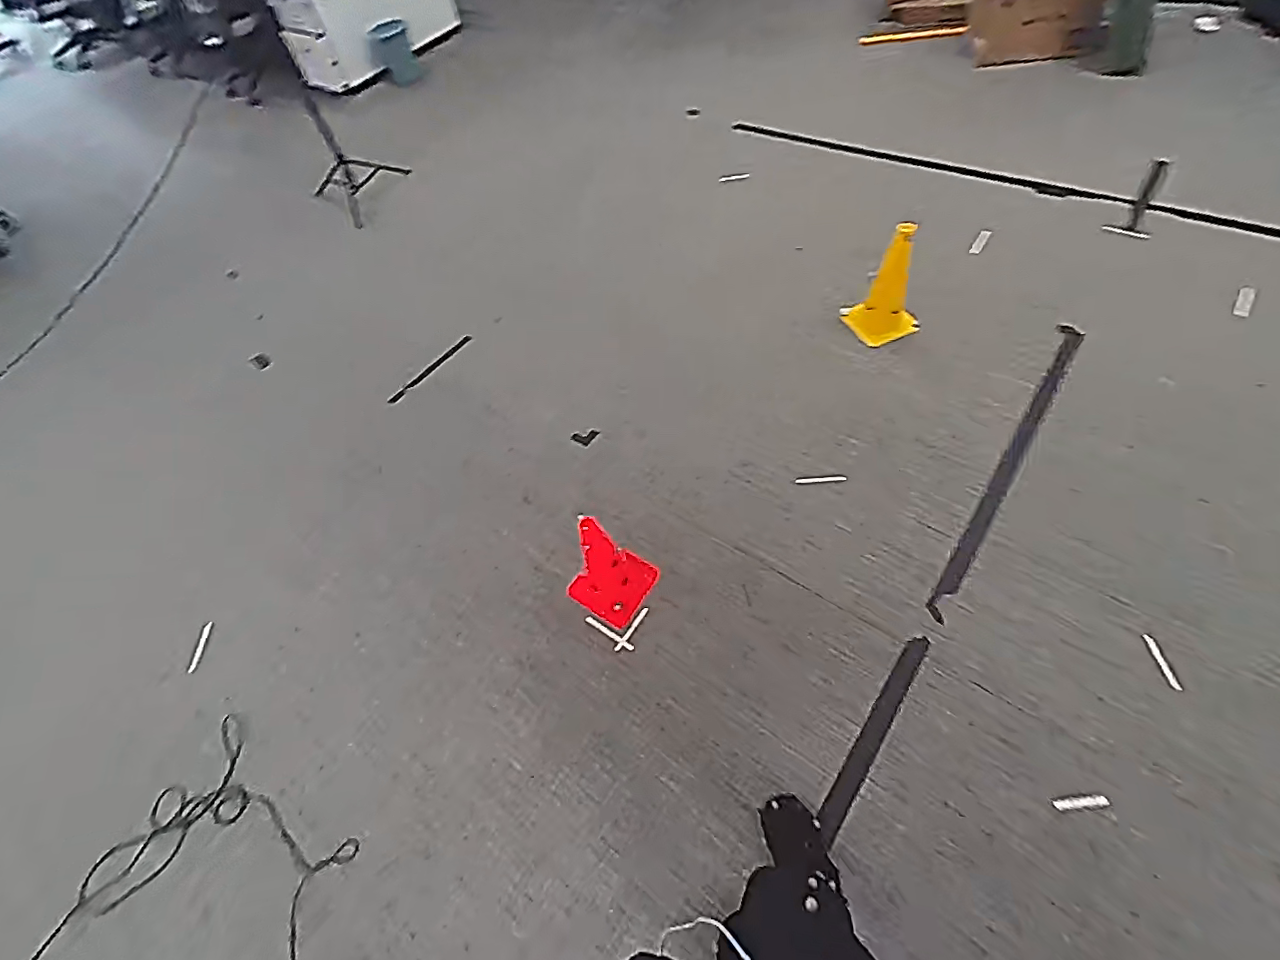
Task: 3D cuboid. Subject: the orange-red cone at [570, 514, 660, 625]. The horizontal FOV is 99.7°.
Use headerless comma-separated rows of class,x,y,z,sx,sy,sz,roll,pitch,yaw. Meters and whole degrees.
orange-red cone,-0.088,0.185,1.352,0.198,0.360,0.199,30,65,23
